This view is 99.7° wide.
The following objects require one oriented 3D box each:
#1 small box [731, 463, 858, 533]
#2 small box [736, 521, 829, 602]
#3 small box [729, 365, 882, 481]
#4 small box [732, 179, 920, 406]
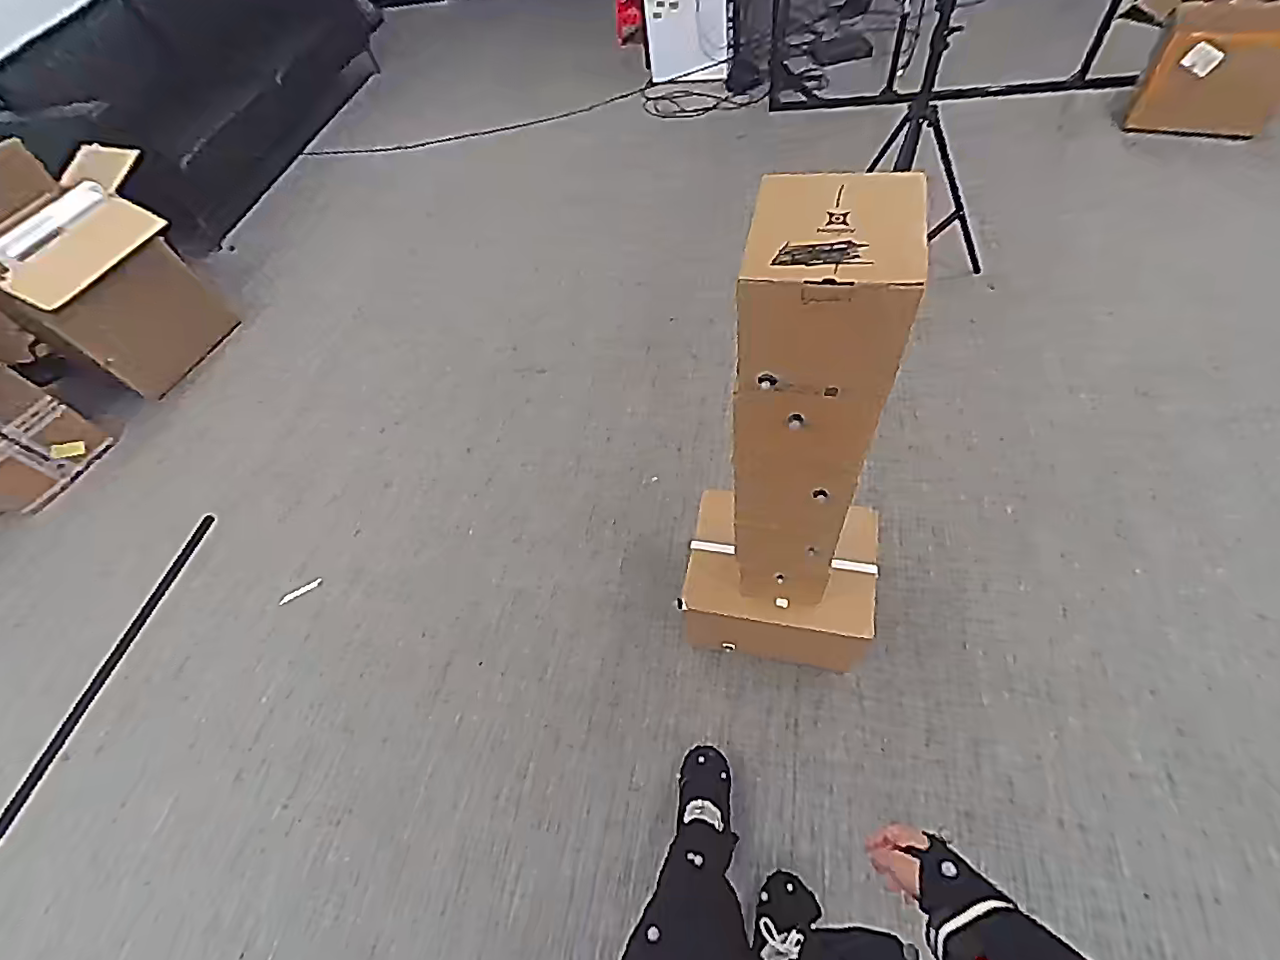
[{"bbox_3d":[0.247,-0.028,0.872,0.179,0.176,0.168,8,60,15],"label":"small box"},{"bbox_3d":[0.299,0.148,1.145,0.179,0.176,0.168,5,60,12],"label":"small box"},{"bbox_3d":[0.223,-0.114,0.738,0.179,0.176,0.168,8,61,15],"label":"small box"},{"bbox_3d":[0.200,-0.201,0.600,0.168,0.176,0.179,8,60,15],"label":"small box"}]
